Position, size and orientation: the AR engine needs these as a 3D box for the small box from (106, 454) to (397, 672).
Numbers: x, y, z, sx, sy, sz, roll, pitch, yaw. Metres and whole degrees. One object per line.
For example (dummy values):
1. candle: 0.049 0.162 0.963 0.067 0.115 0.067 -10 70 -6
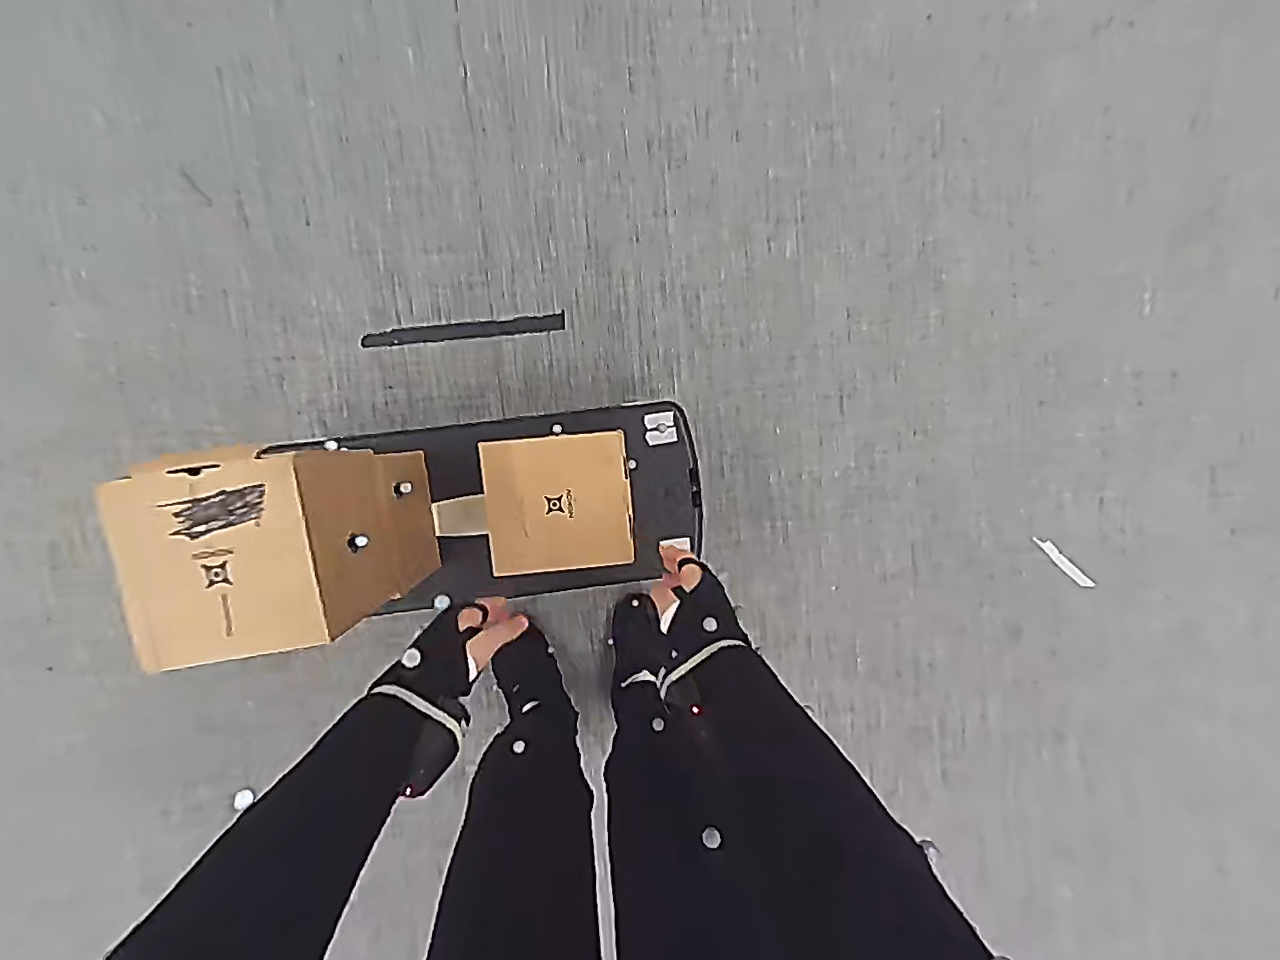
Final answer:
1. small box: -0.373 0.068 0.555 0.168 0.176 0.179 -9 96 -4

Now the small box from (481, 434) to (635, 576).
1. small box: -0.104 0.023 0.739 0.179 0.176 0.168 -6 95 -2

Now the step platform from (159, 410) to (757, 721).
1. step platform: -0.211 0.090 0.699 0.684 0.204 0.286 -7 95 -4

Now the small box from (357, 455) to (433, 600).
1. small box: -0.382 0.060 0.719 0.168 0.176 0.179 -7 95 -4
